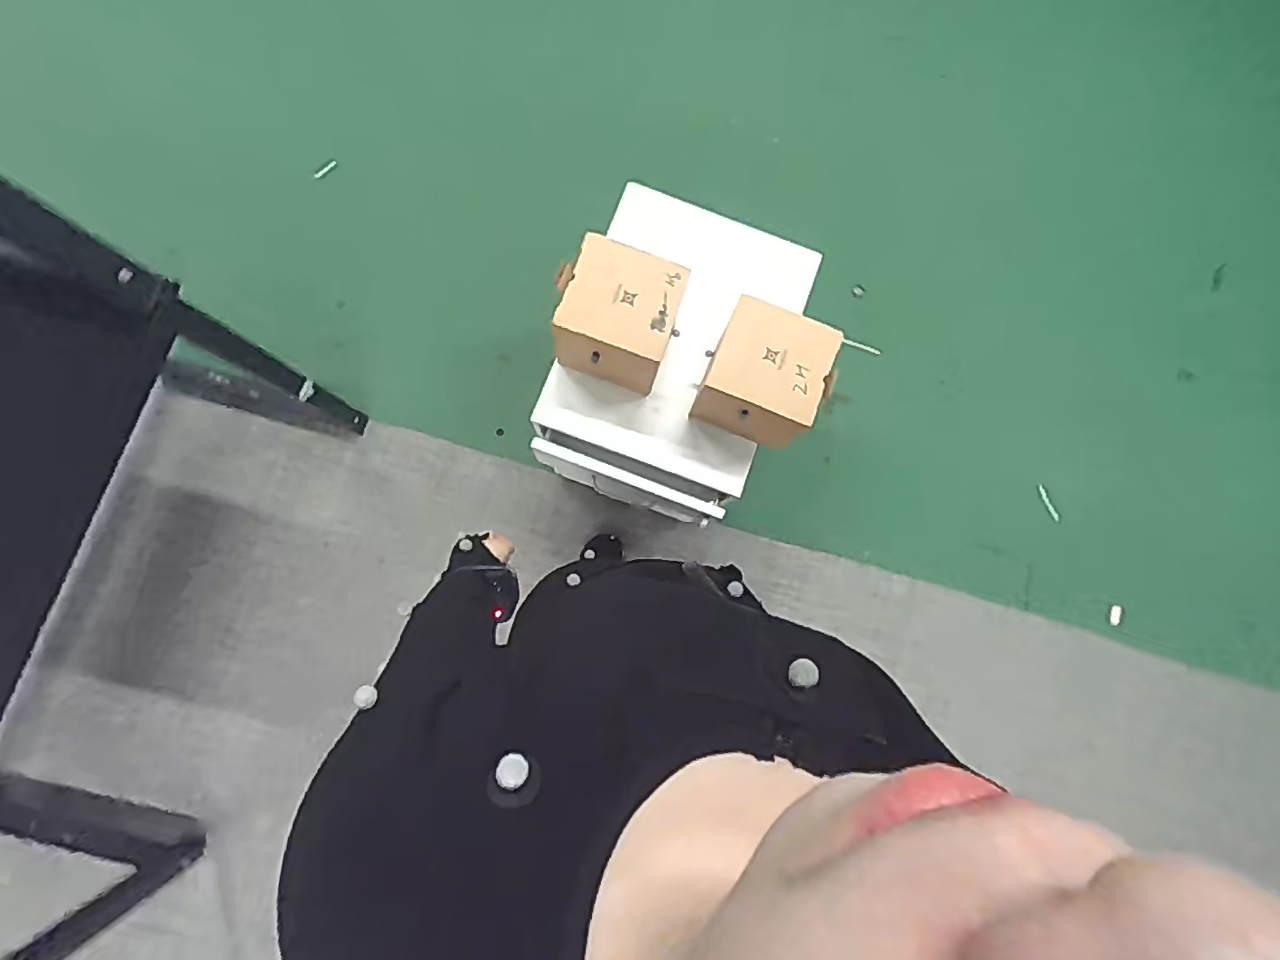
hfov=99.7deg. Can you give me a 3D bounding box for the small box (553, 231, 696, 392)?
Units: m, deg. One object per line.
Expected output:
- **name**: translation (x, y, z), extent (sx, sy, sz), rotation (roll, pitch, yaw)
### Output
- **small box**: translation (-0.028, -0.264, 0.888), extent (0.179, 0.176, 0.168), rotation (20, 80, -1)

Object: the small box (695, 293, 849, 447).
- **small box**: translation (0.204, -0.168, 0.886), extent (0.179, 0.176, 0.168), rotation (22, 80, 0)
